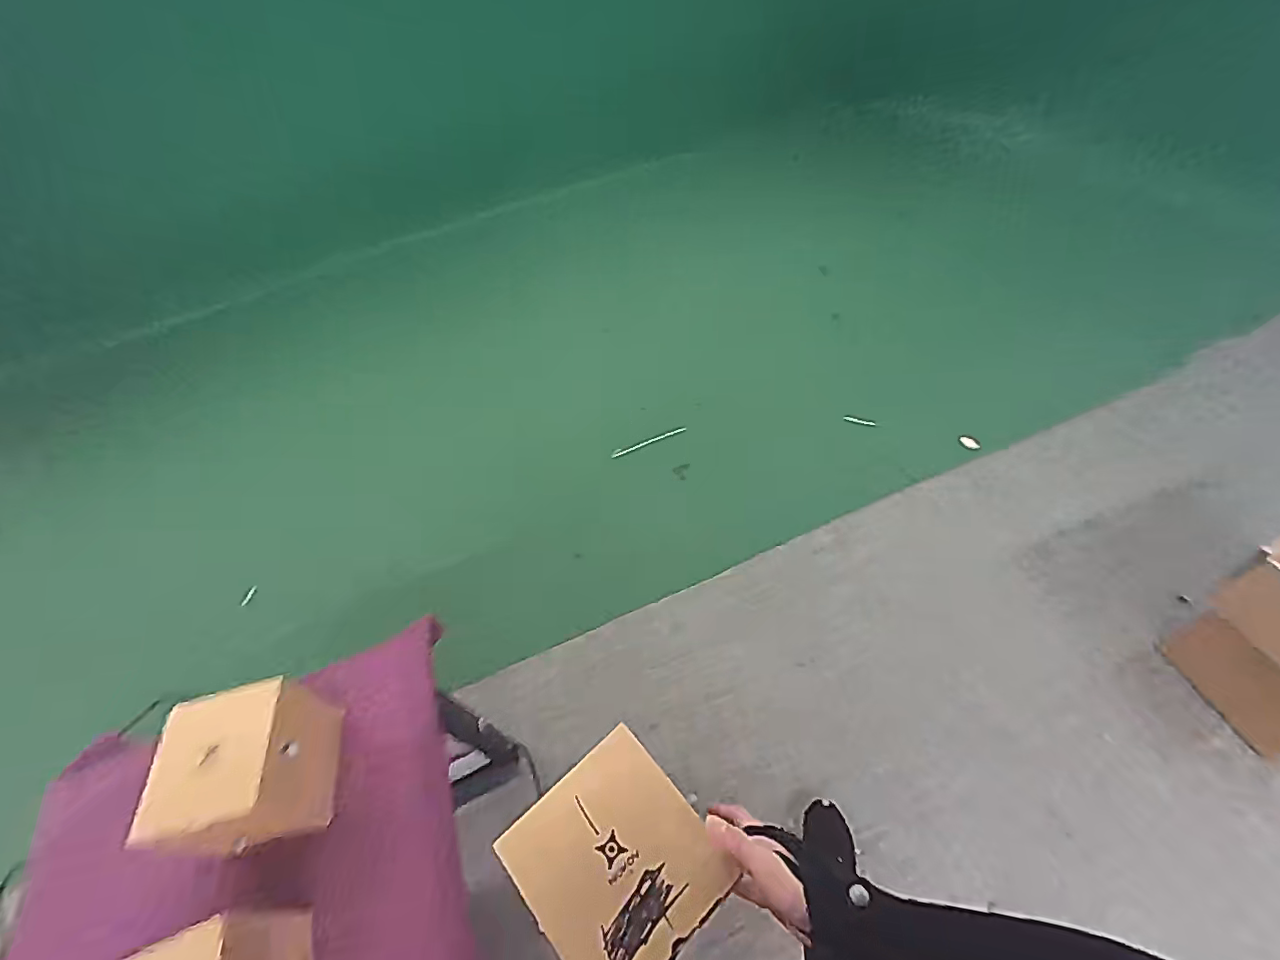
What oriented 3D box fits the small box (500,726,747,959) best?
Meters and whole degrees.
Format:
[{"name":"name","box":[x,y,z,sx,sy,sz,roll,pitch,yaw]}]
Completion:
[{"name":"small box","box":[-0.015,0.394,0.565,0.168,0.176,0.179,-35,61,-20]}]

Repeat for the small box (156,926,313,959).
[{"name":"small box","box":[-0.512,0.650,0.619,0.179,0.176,0.168,-23,52,-8]}]

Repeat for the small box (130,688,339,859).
[{"name":"small box","box":[-0.576,0.437,0.801,0.168,0.176,0.179,-15,53,-1]}]
